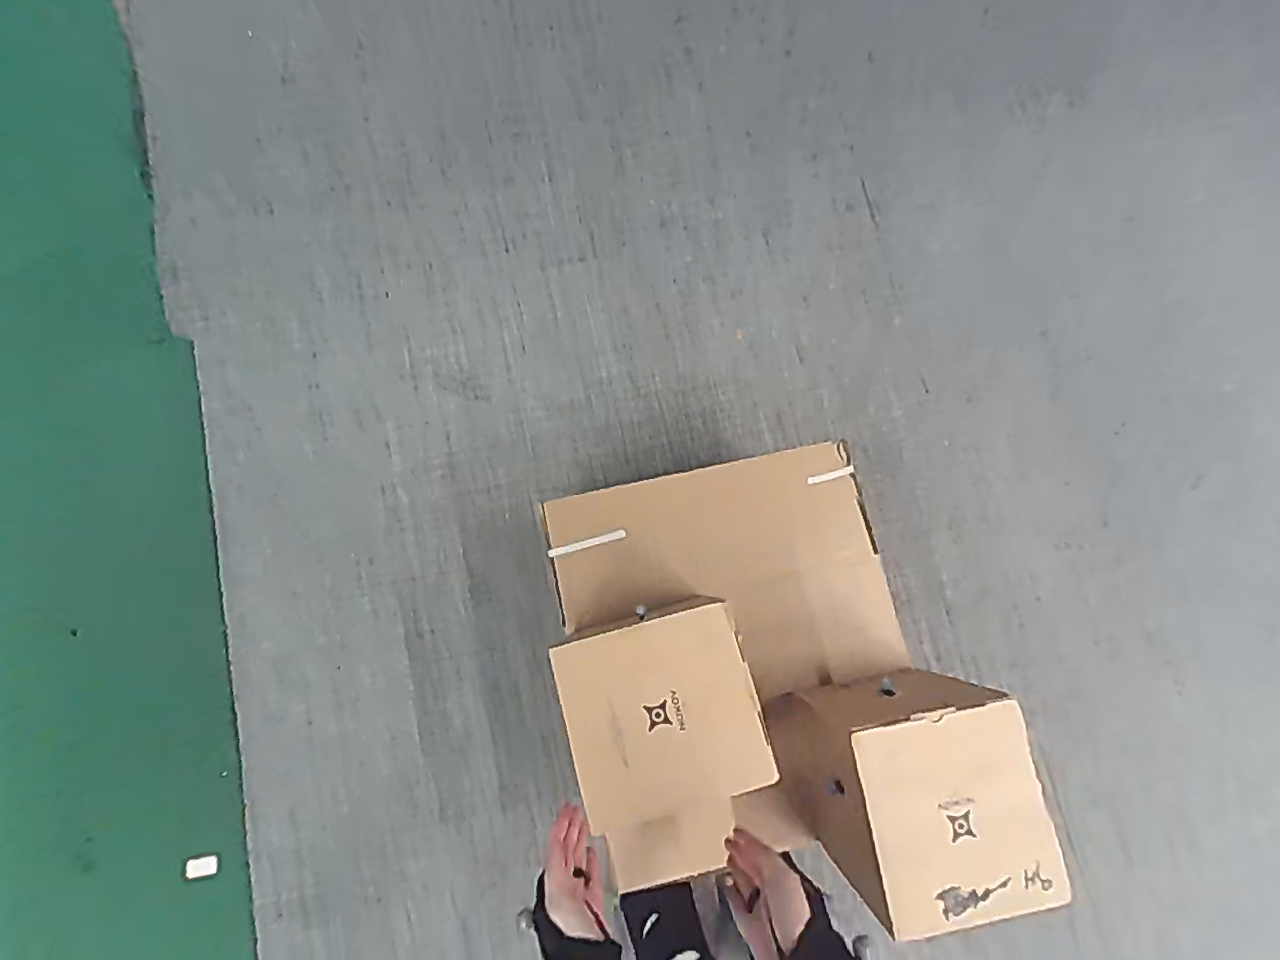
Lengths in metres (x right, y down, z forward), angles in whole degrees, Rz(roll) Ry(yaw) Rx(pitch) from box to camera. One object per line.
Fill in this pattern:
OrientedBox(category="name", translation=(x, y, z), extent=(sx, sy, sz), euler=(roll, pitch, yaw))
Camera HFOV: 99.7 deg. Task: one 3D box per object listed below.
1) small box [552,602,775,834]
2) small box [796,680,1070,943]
OrientedBox(category="small box", translation=(0.018, 0.229, 0.571), extent=(0.179, 0.176, 0.168), euler=(-14, 78, -3))
OrientedBox(category="small box", translation=(0.277, 0.314, 0.557), extent=(0.168, 0.176, 0.179), euler=(-9, 79, -4))
